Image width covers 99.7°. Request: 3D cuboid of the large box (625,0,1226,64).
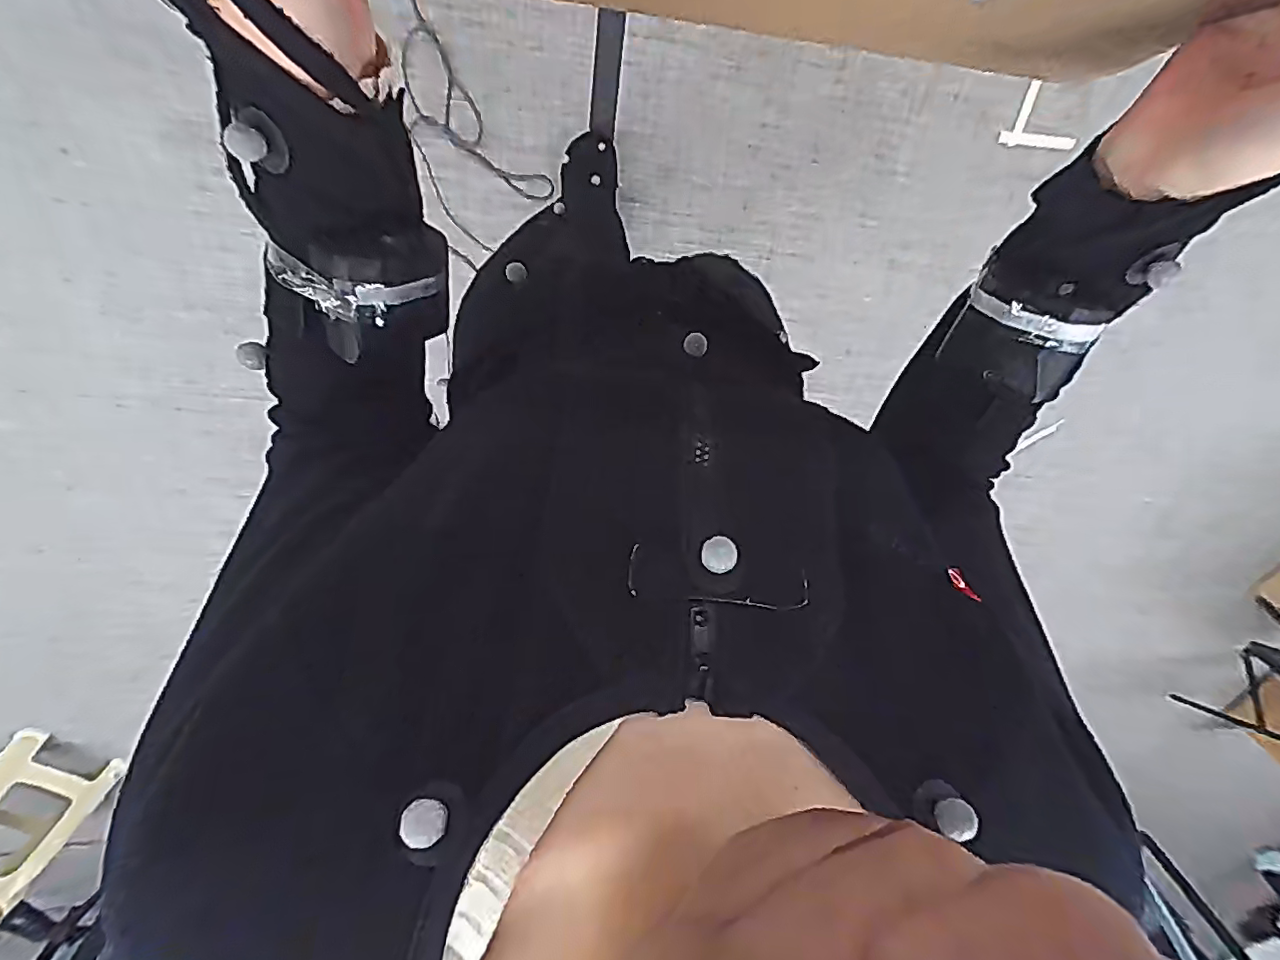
[{"bbox_3d":[0.080,-0.345,0.107,0.408,0.320,0.320,3,111,-7],"label":"large box"}]
